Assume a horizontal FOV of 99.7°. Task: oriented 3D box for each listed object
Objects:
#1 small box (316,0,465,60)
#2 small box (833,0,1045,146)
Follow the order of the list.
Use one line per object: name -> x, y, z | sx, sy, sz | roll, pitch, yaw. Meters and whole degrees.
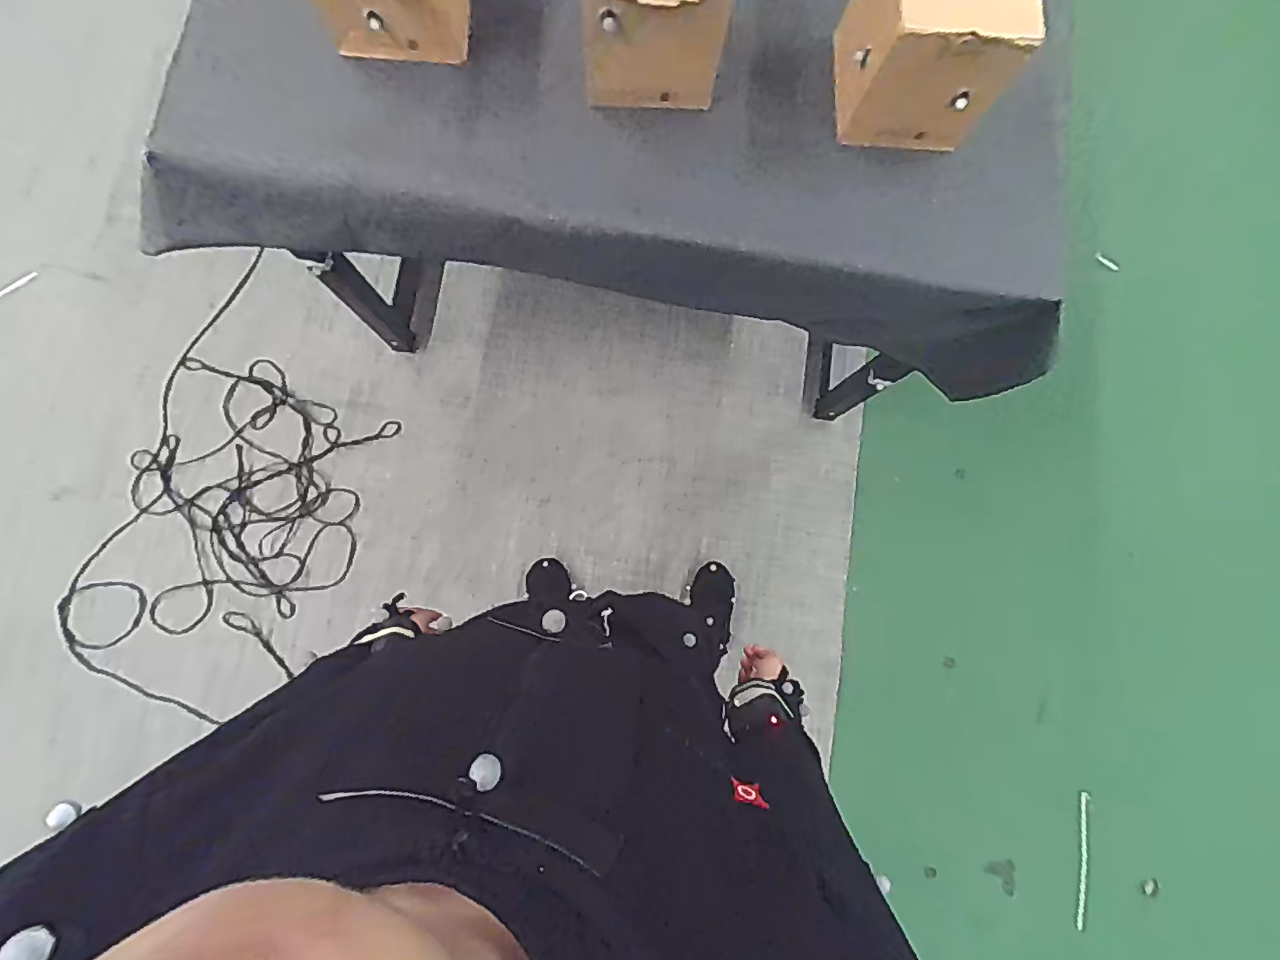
small box -> -0.310, -0.655, 0.641 | 0.168, 0.176, 0.179 | 1, 82, -4
small box -> 0.355, -0.554, 0.674 | 0.168, 0.176, 0.179 | 1, 81, -5
